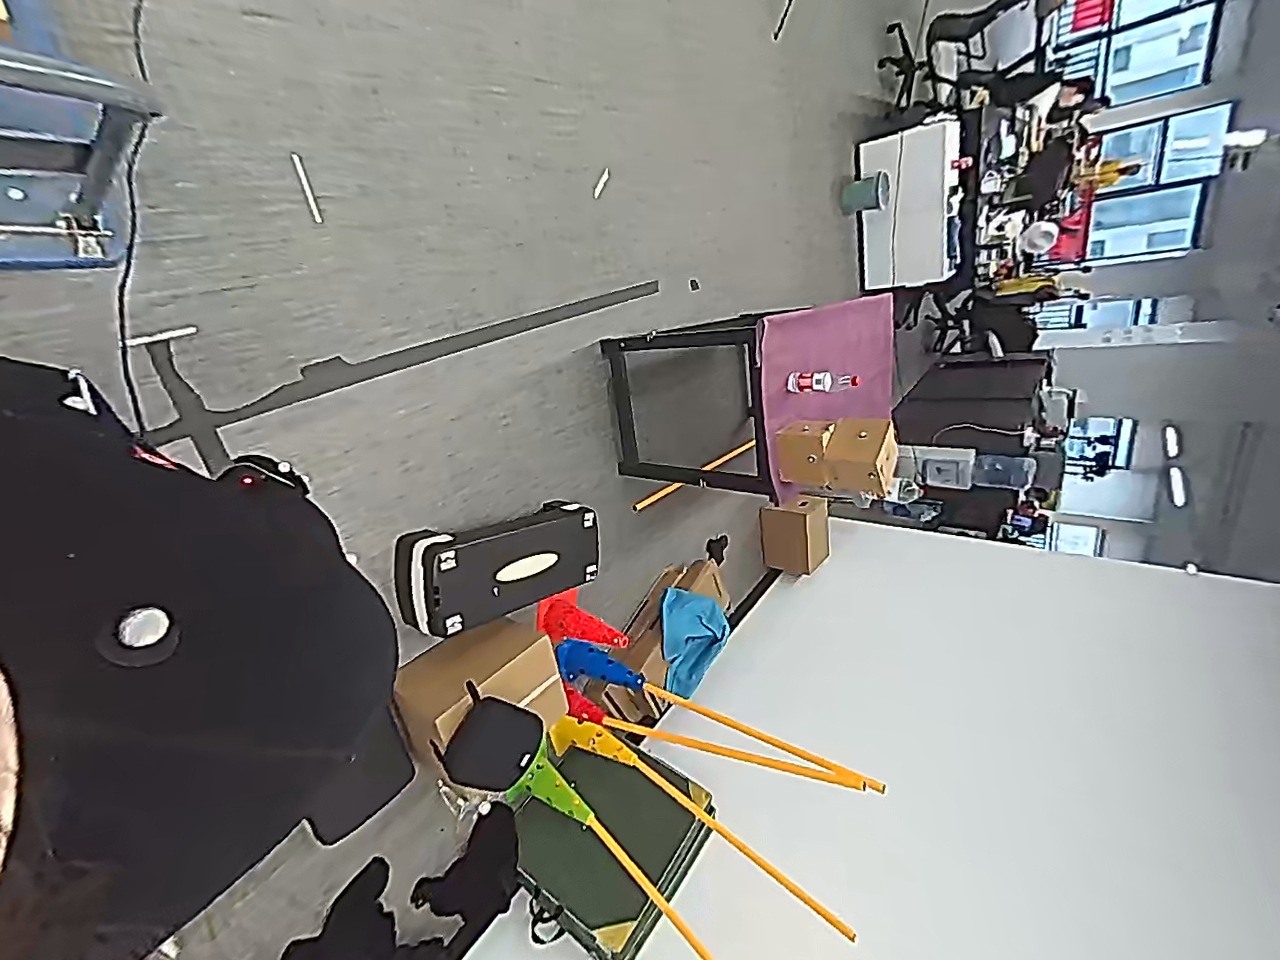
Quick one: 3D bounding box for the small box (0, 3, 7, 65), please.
[{"bbox_3d":[-0.989,-0.677,0.707,0.179,0.176,0.168,-27,117,-44],"label":"small box"}]
